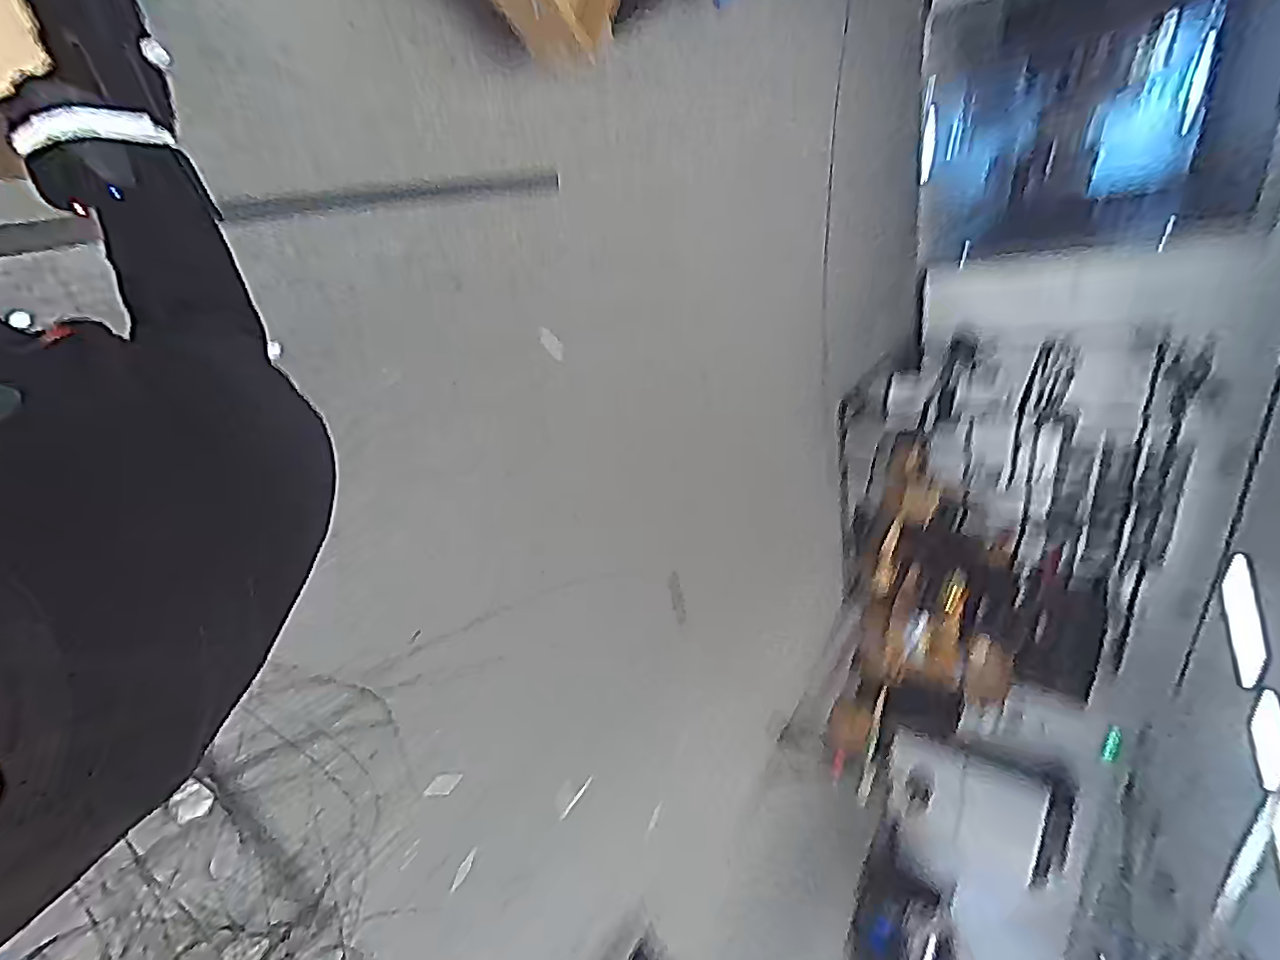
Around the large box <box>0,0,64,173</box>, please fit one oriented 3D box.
[{"bbox_3d":[-0.647,-0.358,0.267,0.408,0.320,0.320,-28,123,-45],"label":"large box"}]
